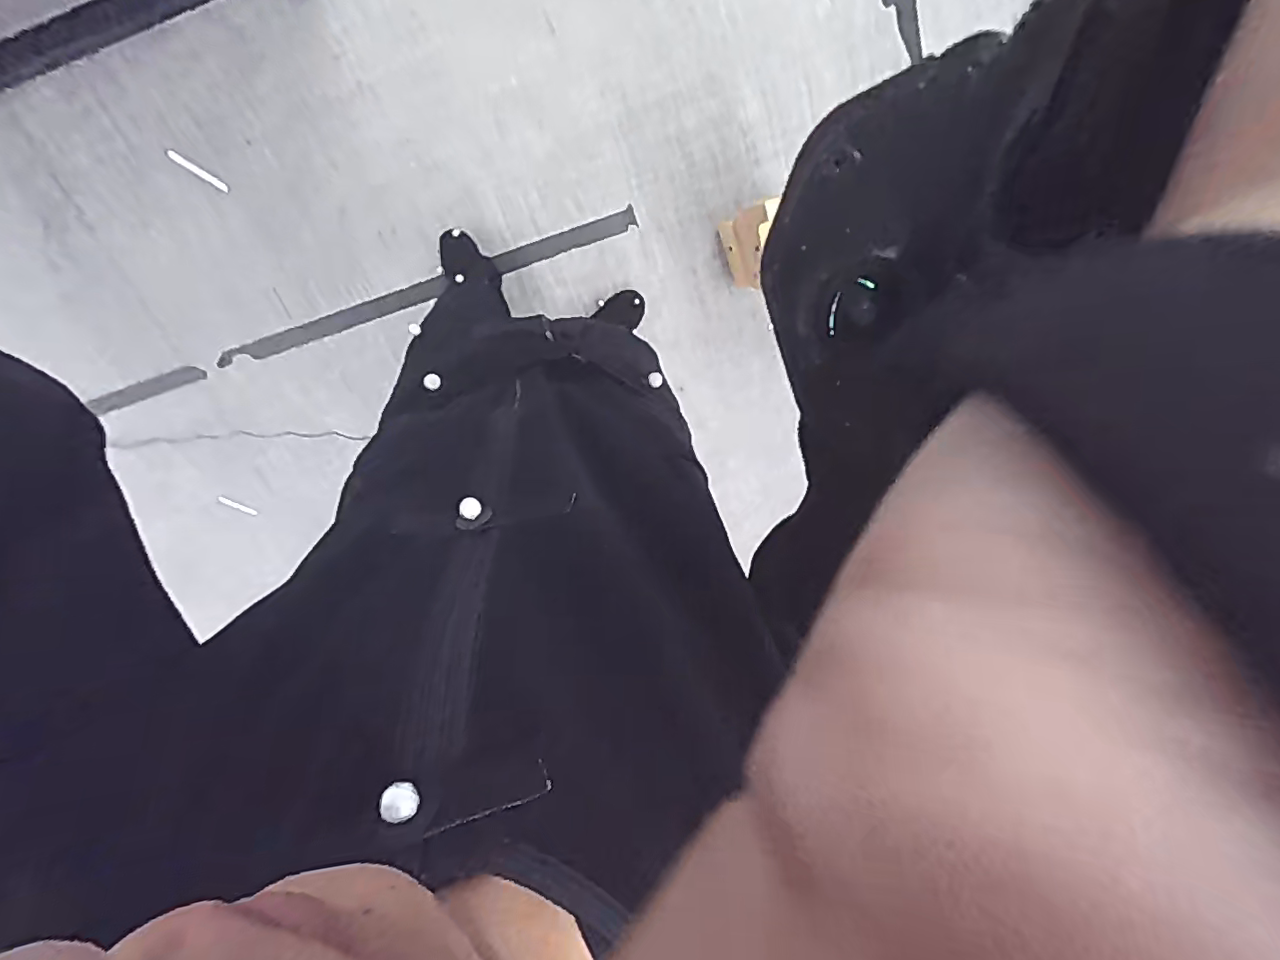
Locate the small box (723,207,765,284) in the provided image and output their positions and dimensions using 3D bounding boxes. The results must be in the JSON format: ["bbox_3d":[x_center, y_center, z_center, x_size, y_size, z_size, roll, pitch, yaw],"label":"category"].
[{"bbox_3d":[0.319,-0.610,1.363,0.179,0.176,0.168,-22,113,5],"label":"small box"}]

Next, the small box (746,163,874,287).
[{"bbox_3d":[0.326,-0.493,1.053,0.179,0.176,0.168,-19,114,5],"label":"small box"}]
